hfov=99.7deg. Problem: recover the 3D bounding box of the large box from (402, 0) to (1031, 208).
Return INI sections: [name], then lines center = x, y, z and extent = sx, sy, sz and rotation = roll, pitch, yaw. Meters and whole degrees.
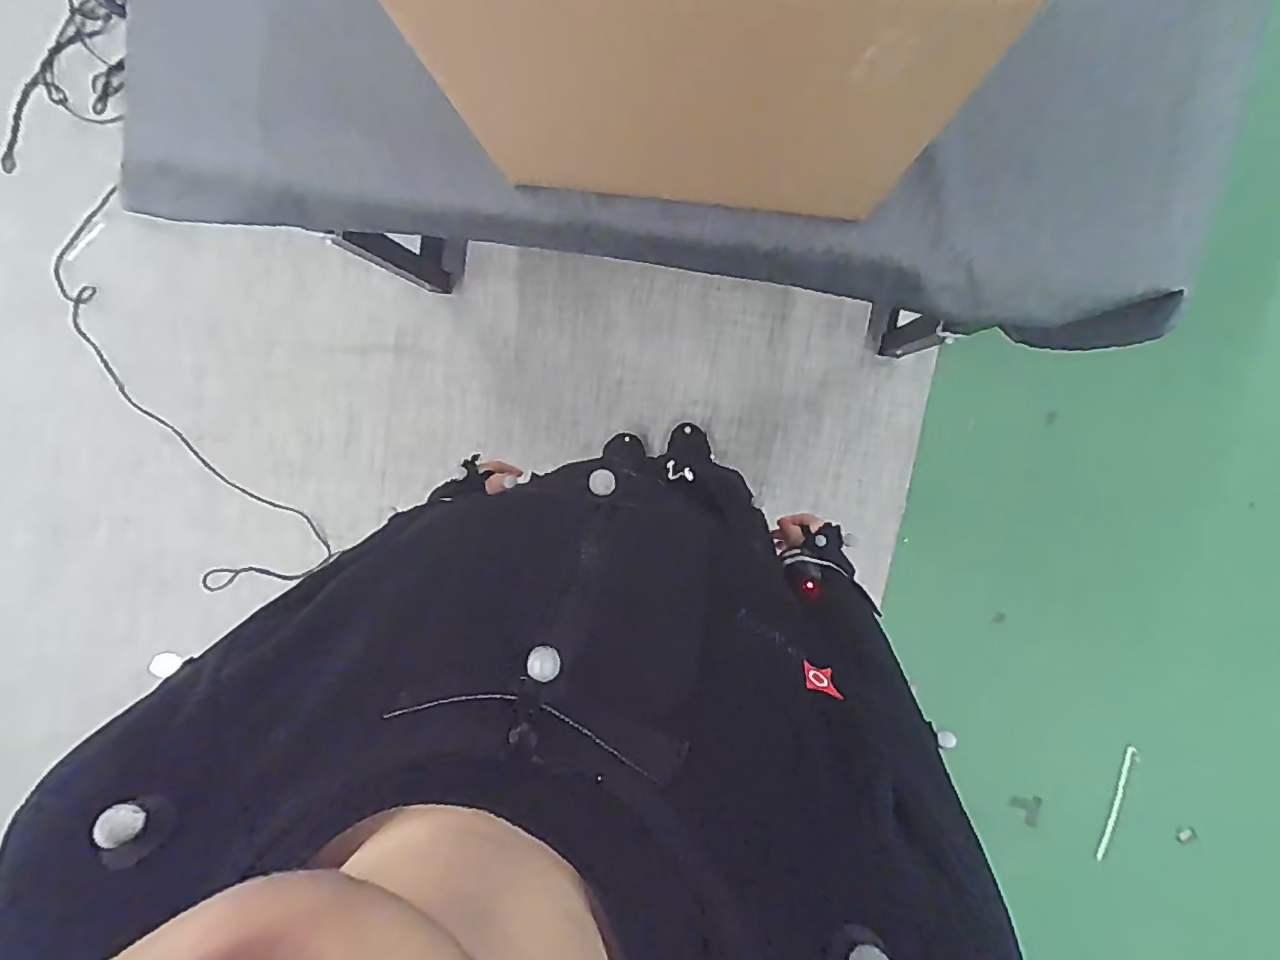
[large box]
center = 0.055, -0.455, 0.443
extent = 0.408, 0.320, 0.320
rotation = 7, 96, 3
